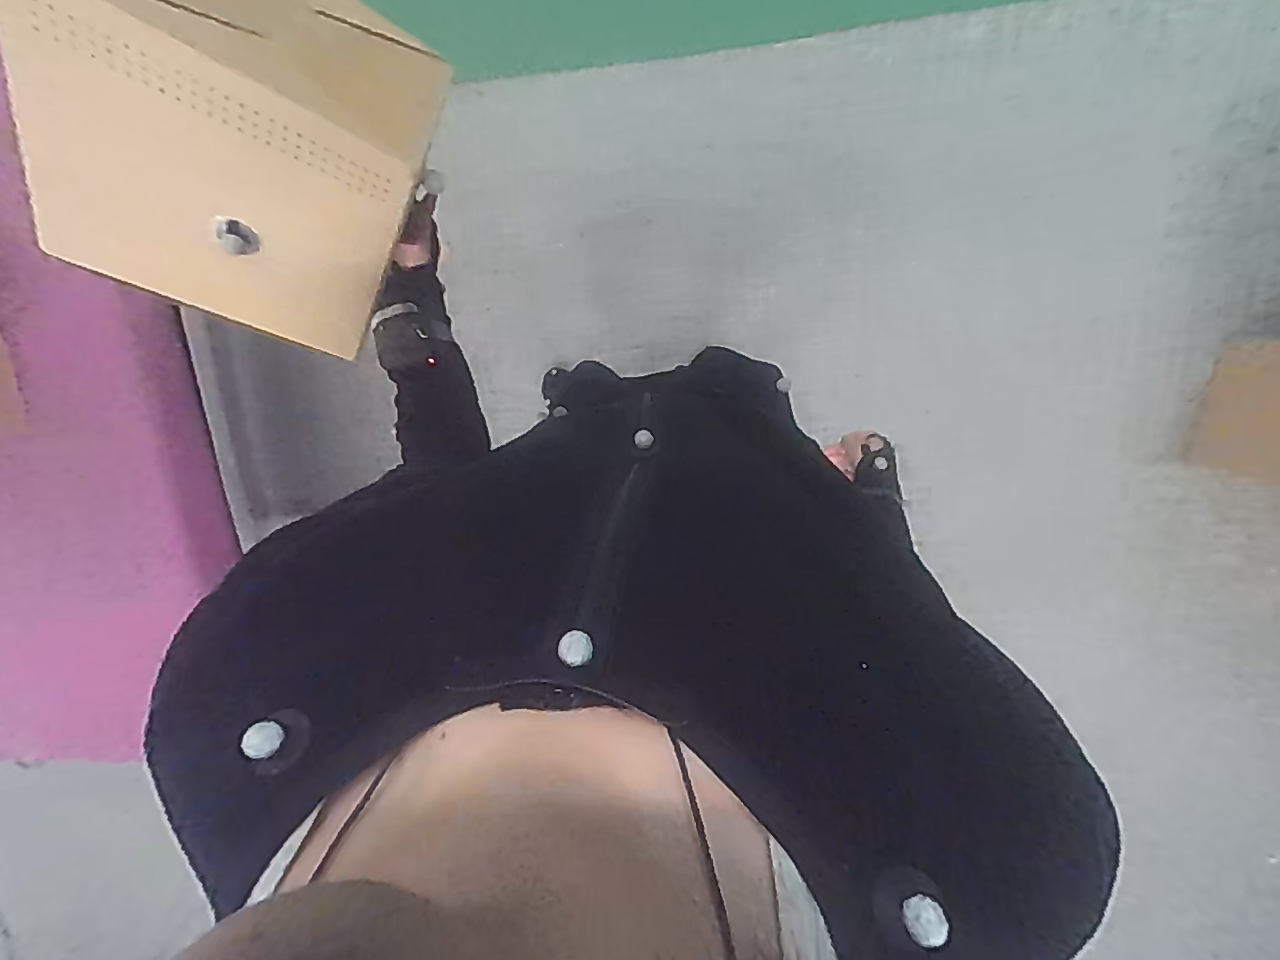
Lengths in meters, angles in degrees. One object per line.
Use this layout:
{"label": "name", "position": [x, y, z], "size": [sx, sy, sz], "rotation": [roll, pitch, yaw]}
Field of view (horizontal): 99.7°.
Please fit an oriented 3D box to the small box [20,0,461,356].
{"label": "small box", "position": [-0.236, -0.220, 0.348], "size": [0.179, 0.168, 0.176], "rotation": [19, 138, -30]}
